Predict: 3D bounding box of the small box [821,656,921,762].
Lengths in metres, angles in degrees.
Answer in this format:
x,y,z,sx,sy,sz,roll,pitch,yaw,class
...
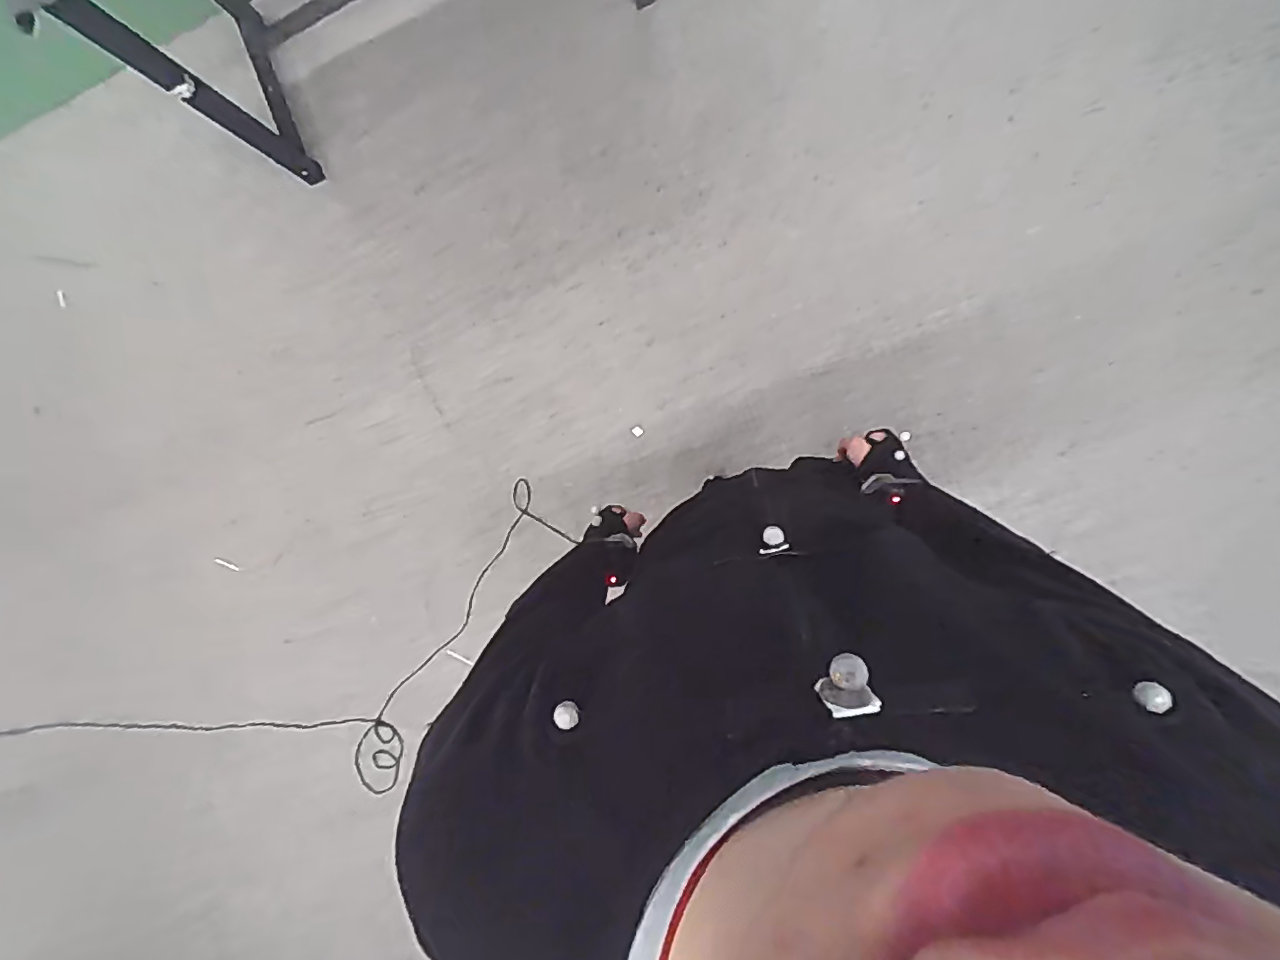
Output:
x,y,z,sx,sy,sz,roll,pitch,yaw,class
0.603,0.599,1.433,0.168,0.176,0.179,-27,87,8,small box
